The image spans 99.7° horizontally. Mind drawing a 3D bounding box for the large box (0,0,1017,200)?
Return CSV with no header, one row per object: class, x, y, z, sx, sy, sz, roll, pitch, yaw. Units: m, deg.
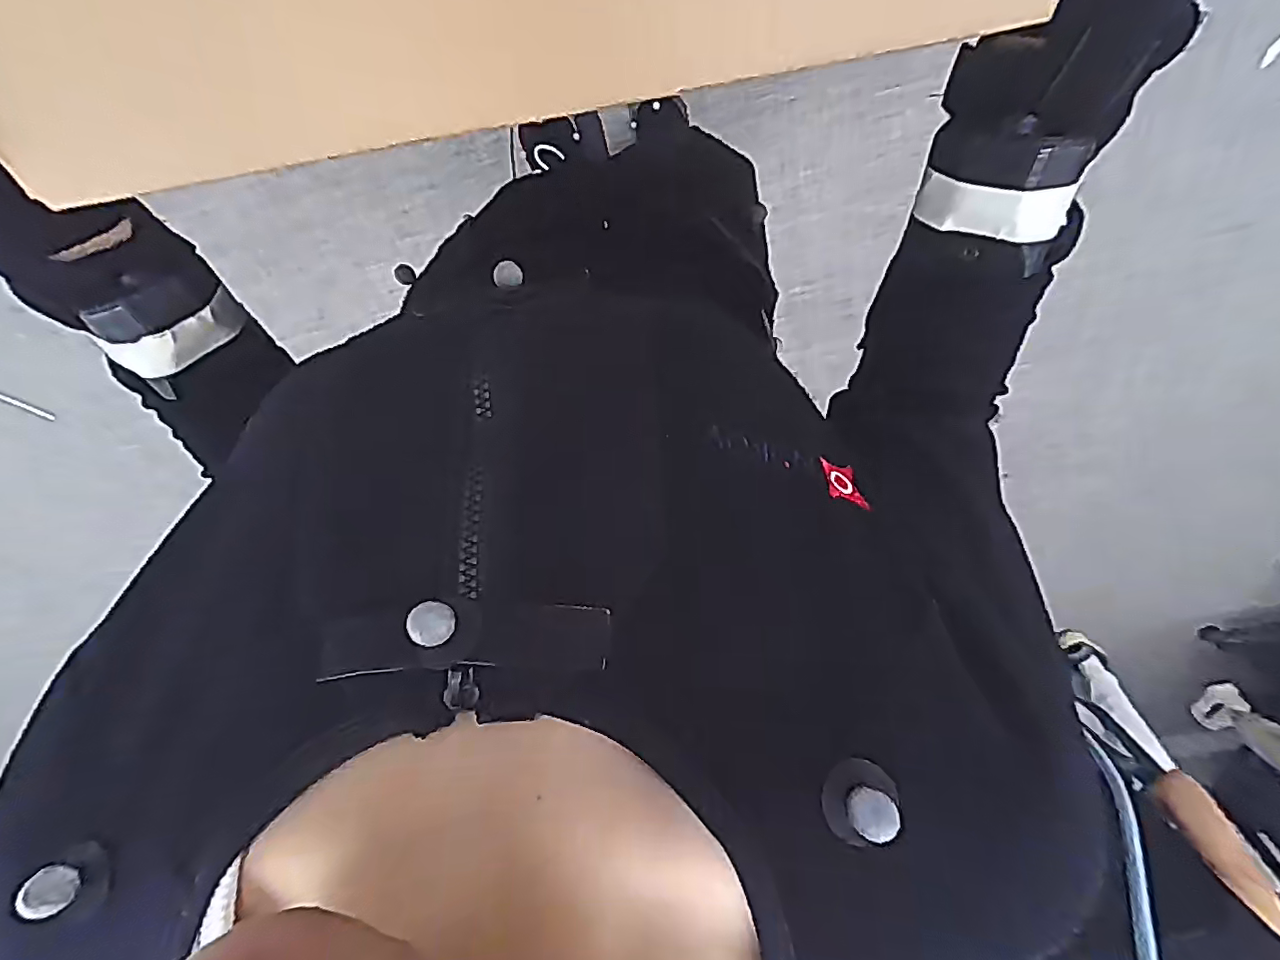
large box,-0.078,-0.361,0.221,0.408,0.320,0.320,-8,136,5
